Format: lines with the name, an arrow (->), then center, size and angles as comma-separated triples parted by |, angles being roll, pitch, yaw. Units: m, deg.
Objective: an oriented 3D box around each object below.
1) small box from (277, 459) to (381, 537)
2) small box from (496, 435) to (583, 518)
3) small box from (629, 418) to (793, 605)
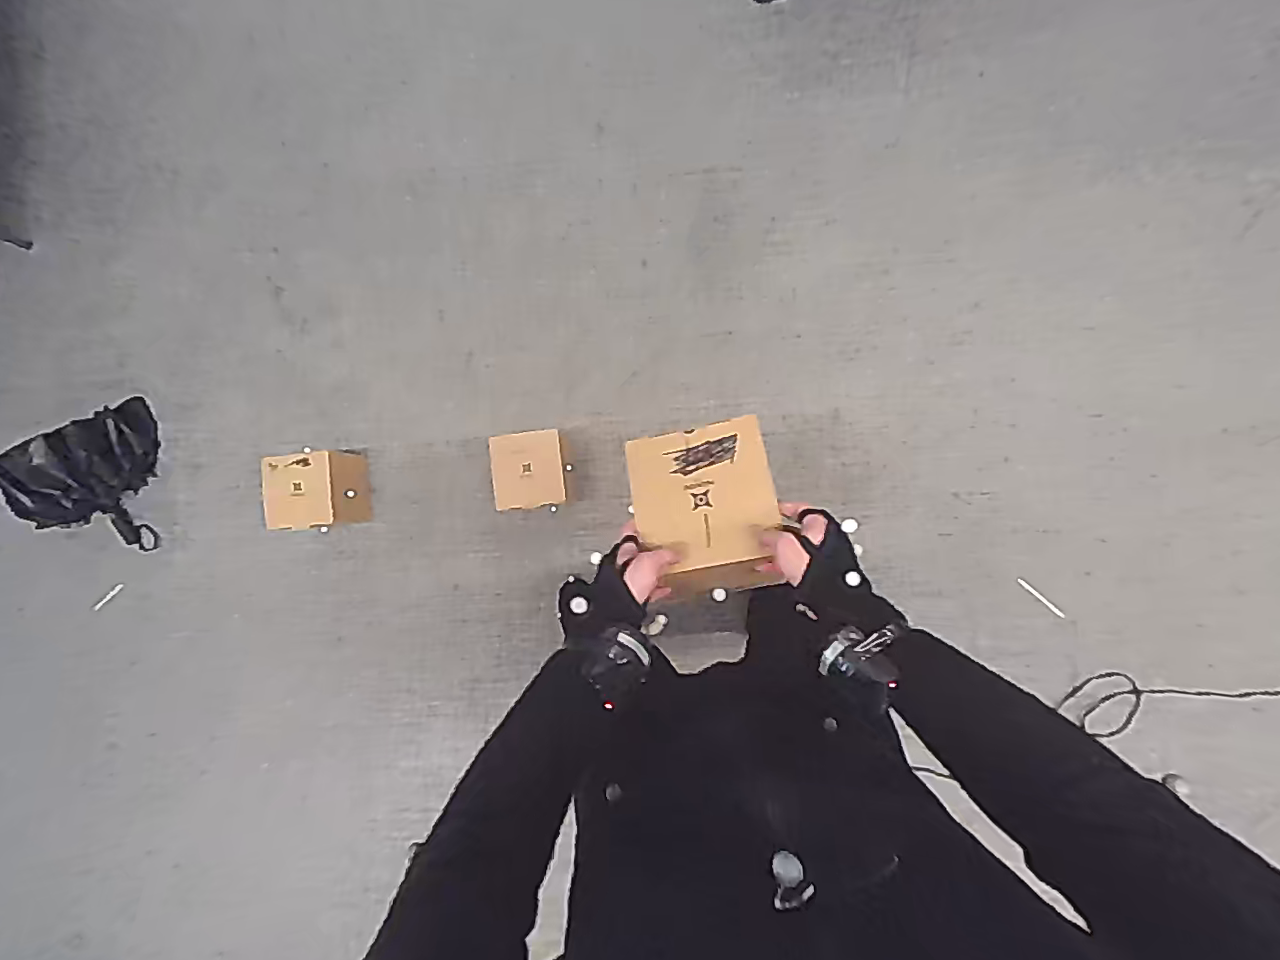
small box -> -0.779, 0.046, 1.369 | 0.168, 0.176, 0.179 | -6, 86, 3
small box -> -0.241, -0.005, 1.329 | 0.168, 0.176, 0.179 | -8, 86, 3
small box -> 0.092, 0.049, 0.695 | 0.168, 0.176, 0.179 | -13, 66, 10
